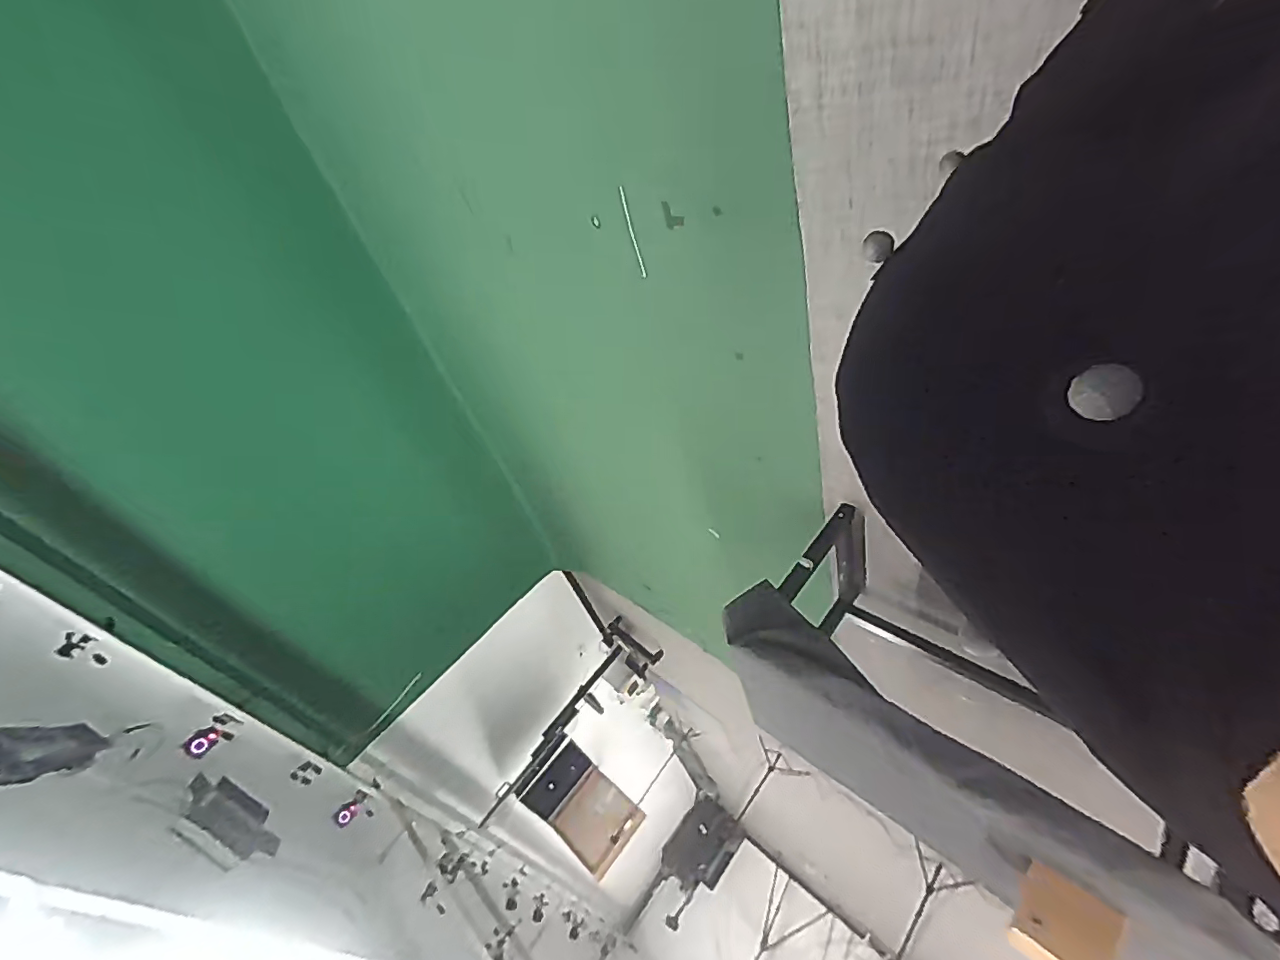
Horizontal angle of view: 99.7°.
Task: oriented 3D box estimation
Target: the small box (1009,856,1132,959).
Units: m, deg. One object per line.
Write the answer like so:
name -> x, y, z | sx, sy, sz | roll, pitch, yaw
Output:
small box -> 0.990, 1.021, 1.248 | 0.179, 0.176, 0.168 | 23, 147, 42
